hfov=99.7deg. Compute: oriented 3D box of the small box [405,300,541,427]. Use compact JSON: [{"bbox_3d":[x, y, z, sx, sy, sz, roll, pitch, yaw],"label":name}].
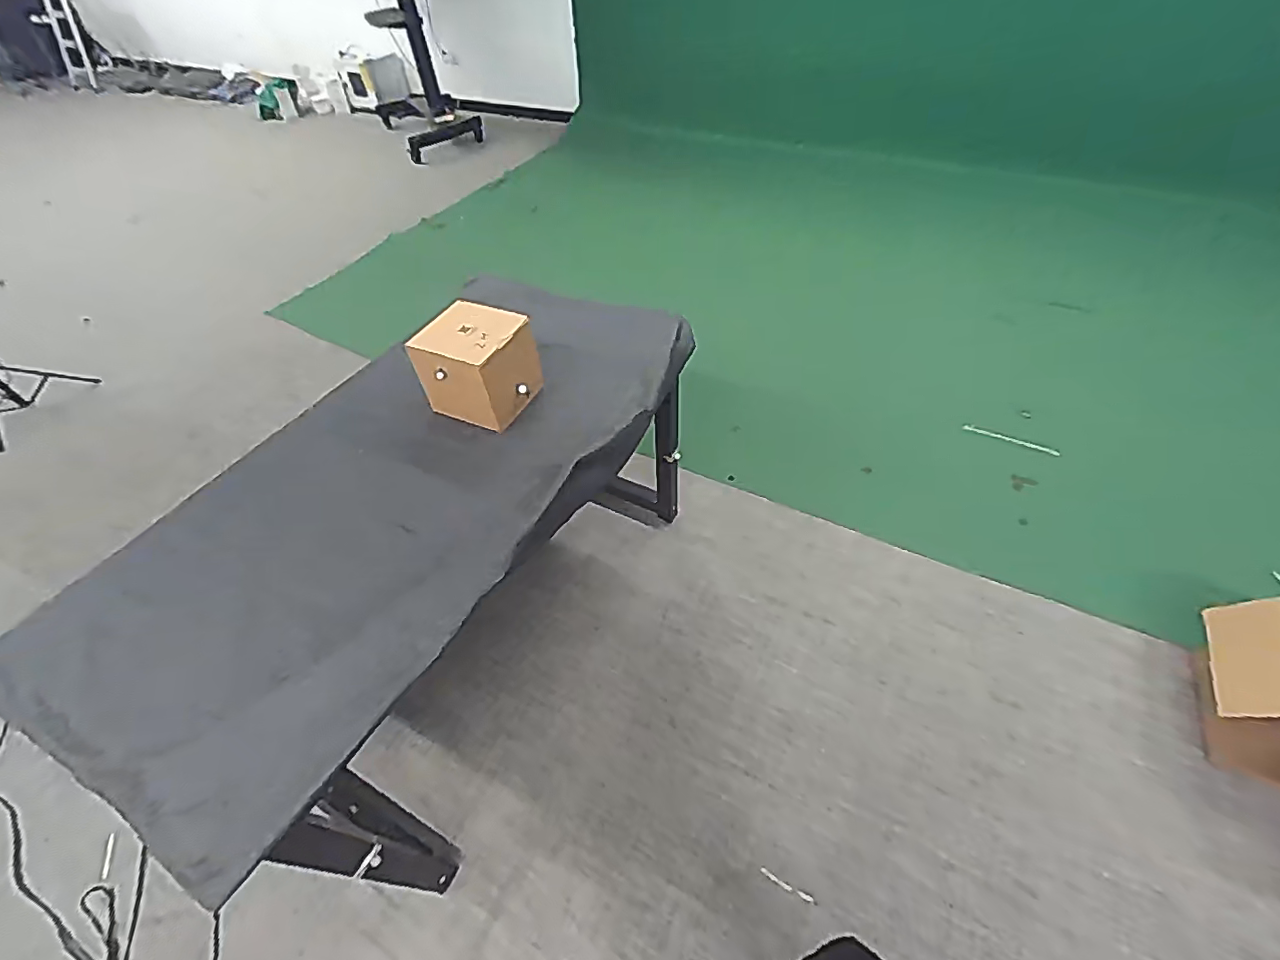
[{"bbox_3d":[-0.323,-0.230,1.081,0.179,0.176,0.168,19,53,18],"label":"small box"}]
